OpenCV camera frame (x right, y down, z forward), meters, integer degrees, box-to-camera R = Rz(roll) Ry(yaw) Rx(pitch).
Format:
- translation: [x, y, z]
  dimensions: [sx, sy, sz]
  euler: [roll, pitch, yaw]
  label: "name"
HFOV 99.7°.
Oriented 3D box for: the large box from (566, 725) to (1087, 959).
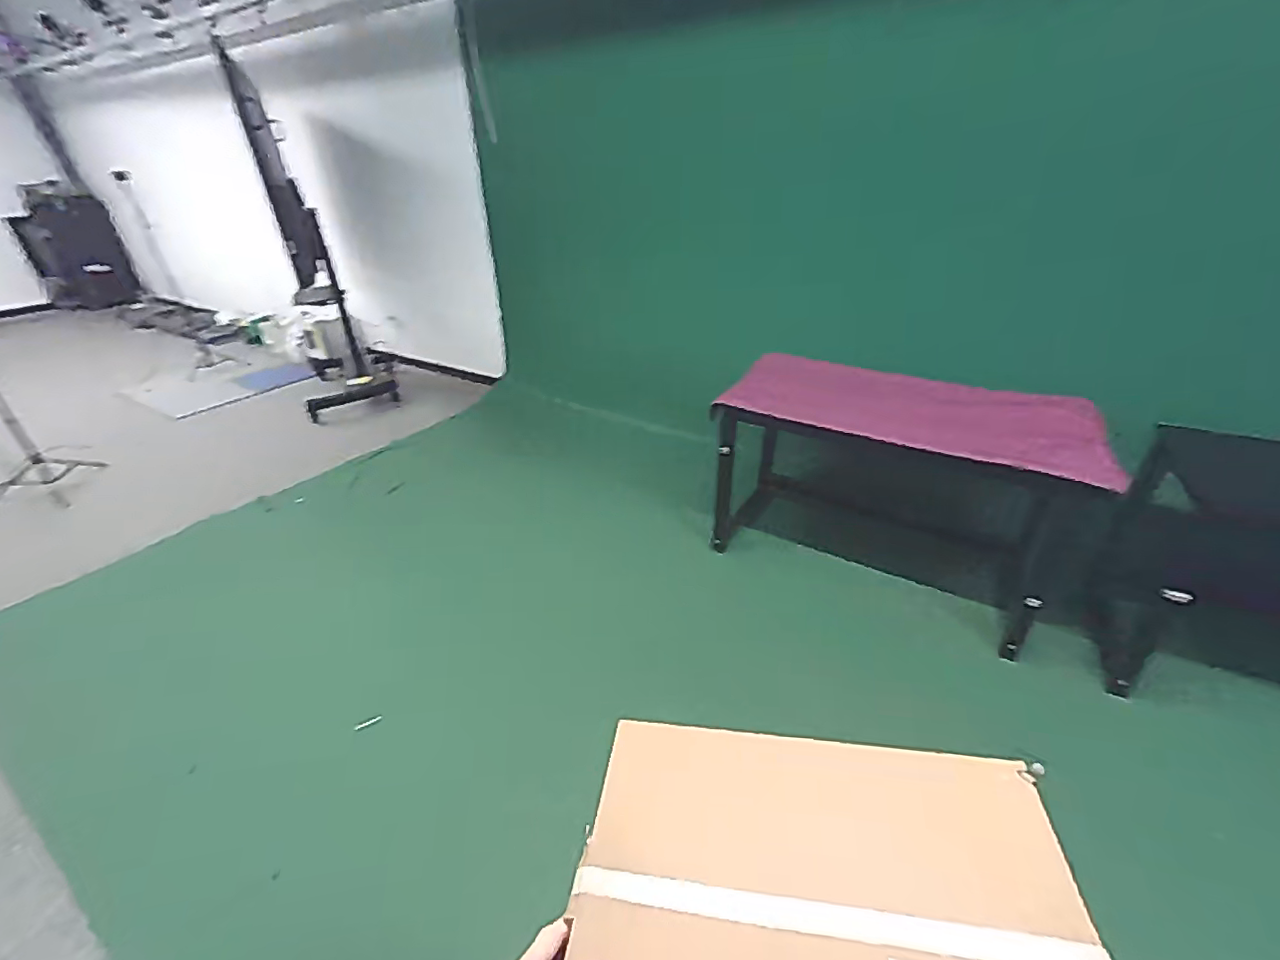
- translation: [0.154, 0.482, 0.523]
  dimensions: [0.408, 0.320, 0.320]
  euler: [1, 33, 10]
  label: "large box"
